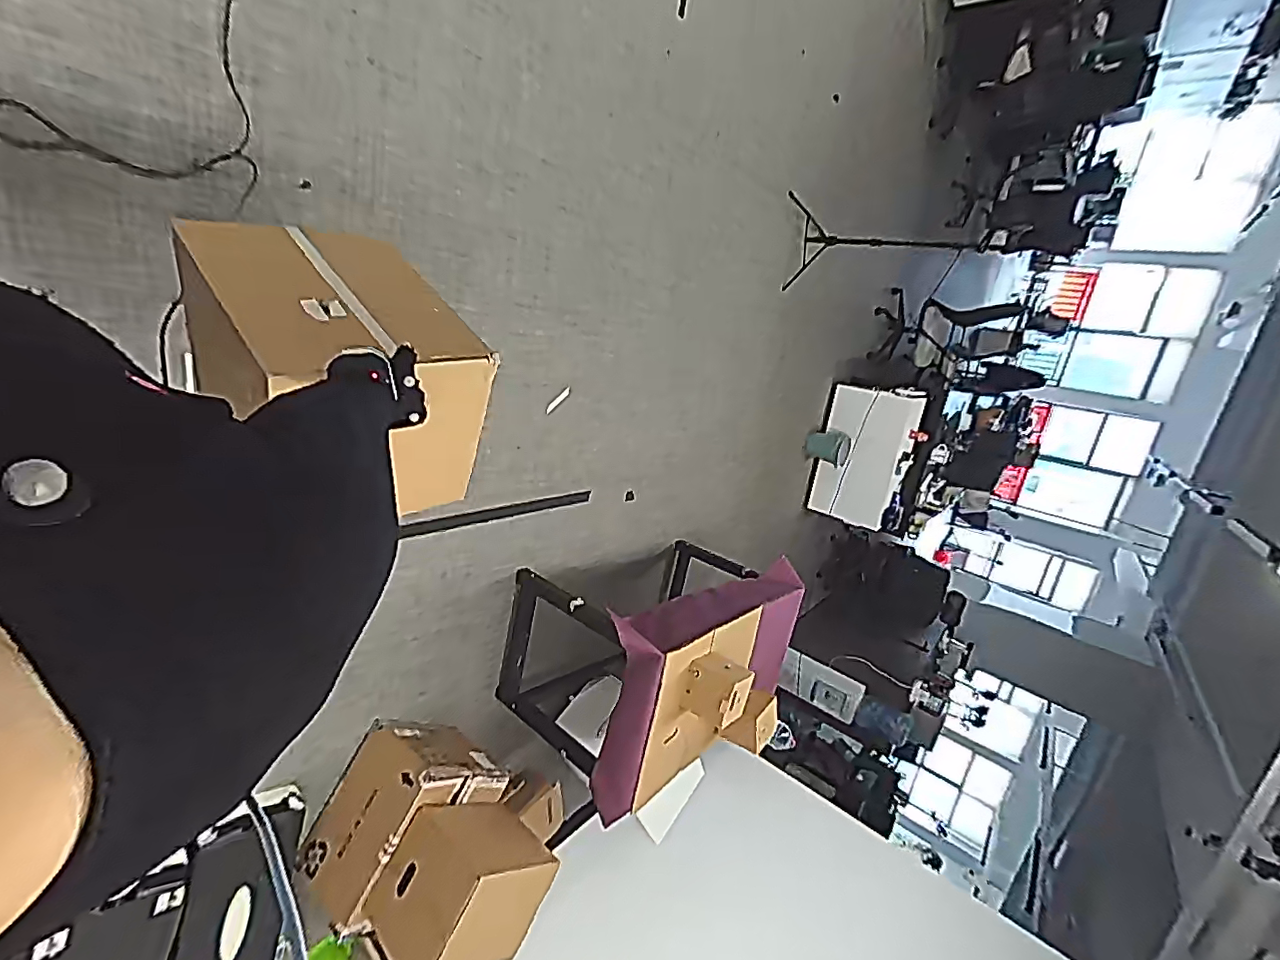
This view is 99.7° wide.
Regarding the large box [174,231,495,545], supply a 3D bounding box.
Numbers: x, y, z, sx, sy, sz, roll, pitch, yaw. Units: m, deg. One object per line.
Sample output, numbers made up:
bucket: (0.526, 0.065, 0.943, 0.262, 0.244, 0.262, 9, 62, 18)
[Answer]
large box: (-0.514, -0.167, 0.916, 0.320, 0.408, 0.320, -21, 147, -44)
